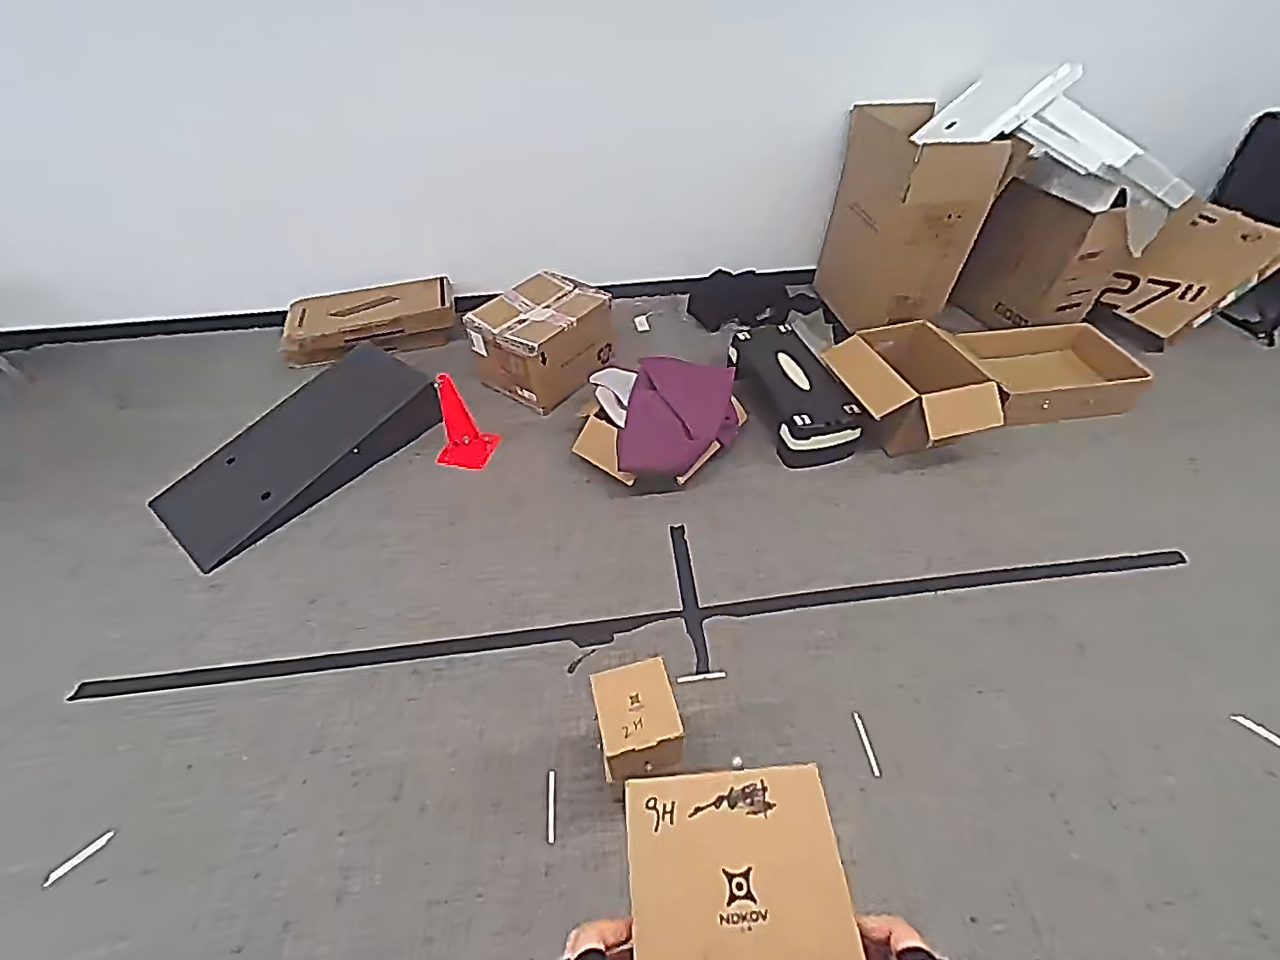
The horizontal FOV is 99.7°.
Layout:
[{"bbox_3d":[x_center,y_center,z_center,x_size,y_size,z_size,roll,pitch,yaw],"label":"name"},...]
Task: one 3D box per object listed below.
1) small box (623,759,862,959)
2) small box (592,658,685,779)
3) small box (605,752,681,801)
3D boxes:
[{"bbox_3d":[0.077,0.359,0.470,0.168,0.176,0.179,-5,53,-1],"label":"small box"},{"bbox_3d":[-0.005,0.526,1.192,0.168,0.176,0.179,-13,48,-7],"label":"small box"},{"bbox_3d":[0.000,0.647,1.304,0.168,0.176,0.179,-9,49,-4],"label":"small box"}]
